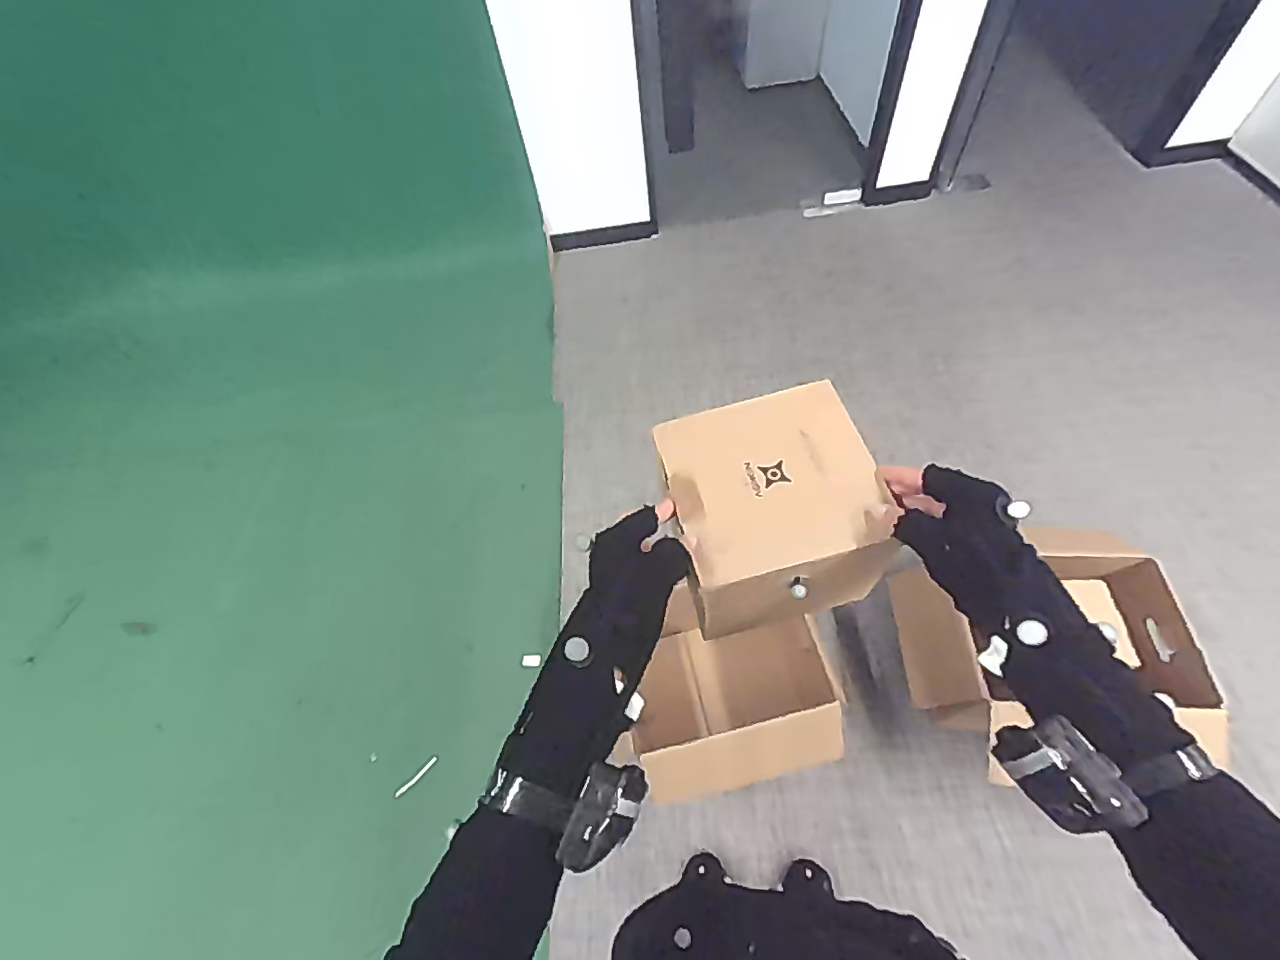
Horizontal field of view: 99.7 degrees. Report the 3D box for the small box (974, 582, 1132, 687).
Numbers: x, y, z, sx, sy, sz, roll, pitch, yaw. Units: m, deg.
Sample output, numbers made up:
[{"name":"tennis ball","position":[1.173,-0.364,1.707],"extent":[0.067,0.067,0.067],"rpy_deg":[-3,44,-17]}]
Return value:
[{"name":"small box","position":[0.825,0.317,1.103],"extent":[0.179,0.176,0.168],"rpy_deg":[-2,55,8]}]
